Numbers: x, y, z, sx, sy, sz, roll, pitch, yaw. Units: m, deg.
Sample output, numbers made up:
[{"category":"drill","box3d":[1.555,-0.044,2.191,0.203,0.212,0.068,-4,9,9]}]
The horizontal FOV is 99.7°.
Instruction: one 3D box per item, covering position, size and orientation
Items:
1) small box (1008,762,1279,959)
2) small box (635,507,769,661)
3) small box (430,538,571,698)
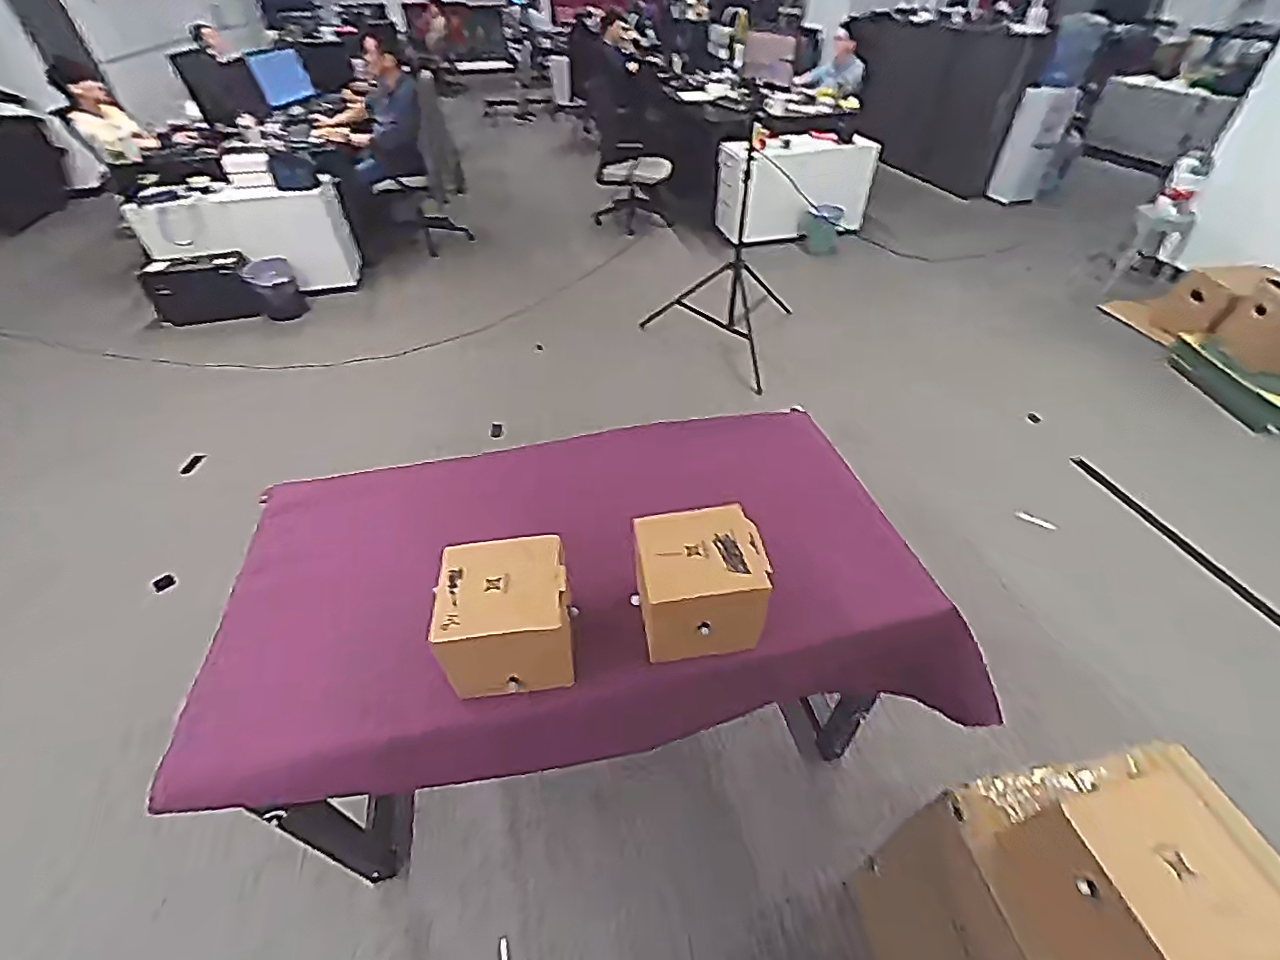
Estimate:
[{"category":"small box","box3d":[0.605,0.483,0.663,0.168,0.176,0.179,-12,46,-7]},{"category":"small box","box3d":[0.088,0.167,0.864,0.179,0.176,0.168,-7,42,-5]},{"category":"small box","box3d":[-0.198,0.211,0.826,0.179,0.176,0.168,-5,42,-5]}]
